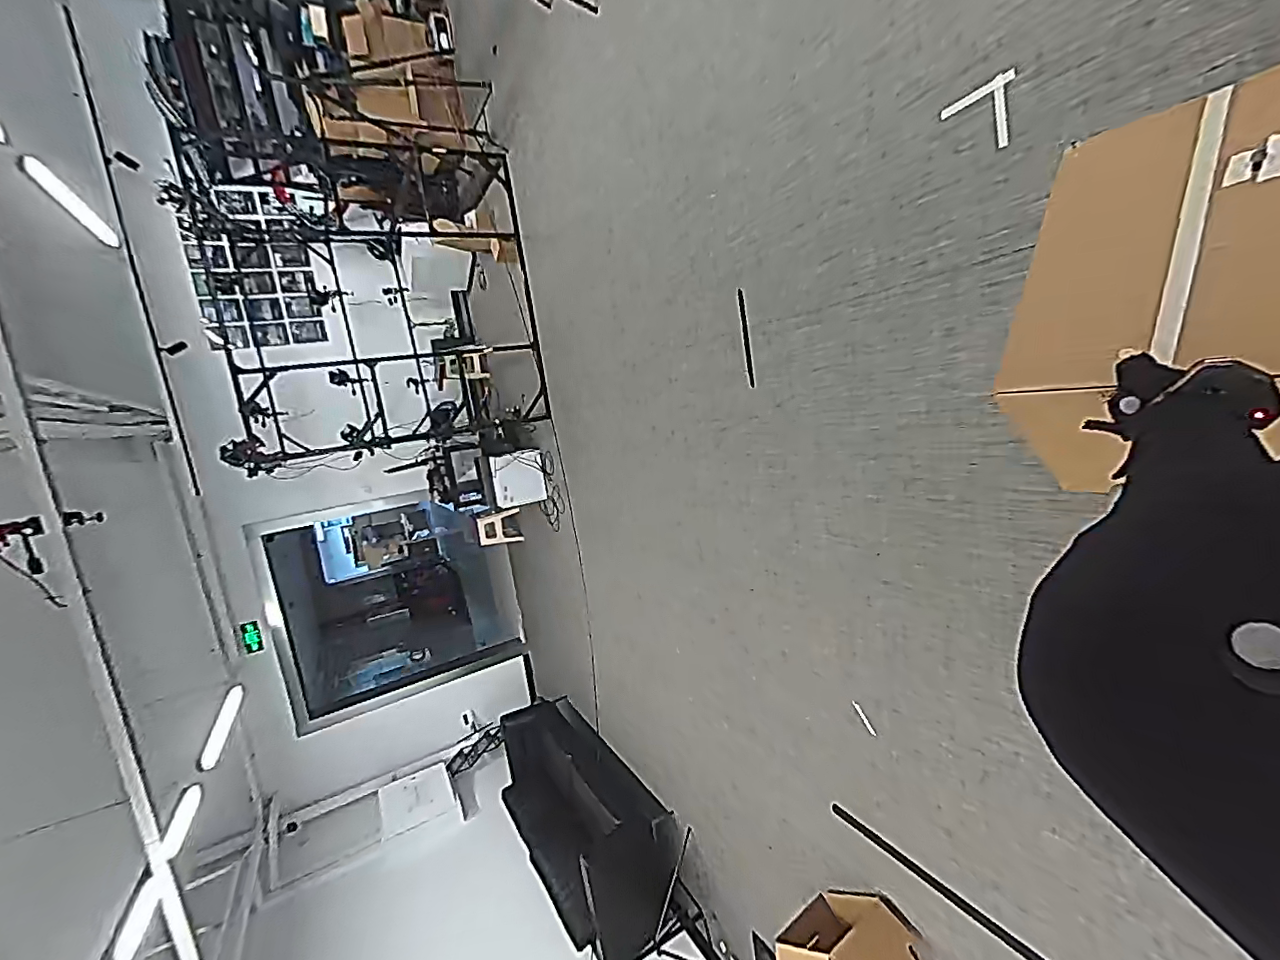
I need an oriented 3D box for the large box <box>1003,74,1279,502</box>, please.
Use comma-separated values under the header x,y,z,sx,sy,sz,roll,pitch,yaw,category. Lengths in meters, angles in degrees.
x,y,z,sx,sy,sz,roll,pitch,yaw,category
0.732,-0.216,0.686,0.320,0.320,0.408,7,70,55,large box
